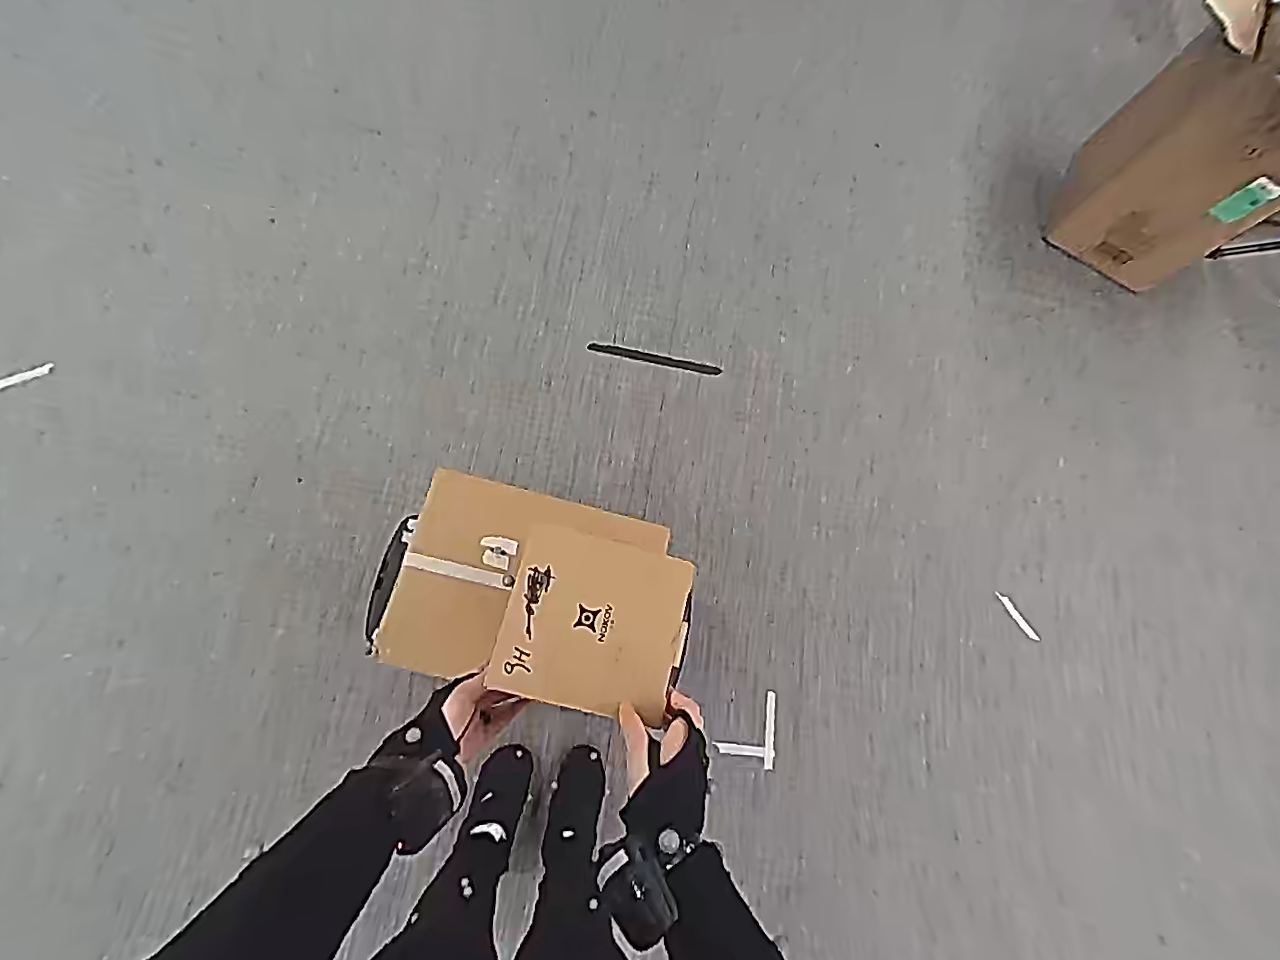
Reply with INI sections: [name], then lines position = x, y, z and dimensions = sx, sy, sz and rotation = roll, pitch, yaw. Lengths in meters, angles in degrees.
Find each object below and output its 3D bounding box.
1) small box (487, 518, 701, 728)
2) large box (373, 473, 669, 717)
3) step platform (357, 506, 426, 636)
[small box]
position = -0.052, 0.157, 0.602
dimensions = 0.179, 0.176, 0.168
rotation = 17, 71, -4
[large box]
position = -0.190, 0.217, 0.994
dimensions = 0.408, 0.320, 0.320
rotation = 15, 71, -3
[step platform]
position = -0.246, 0.290, 1.214
dimensions = 0.684, 0.204, 0.286
rotation = 17, 72, -3
